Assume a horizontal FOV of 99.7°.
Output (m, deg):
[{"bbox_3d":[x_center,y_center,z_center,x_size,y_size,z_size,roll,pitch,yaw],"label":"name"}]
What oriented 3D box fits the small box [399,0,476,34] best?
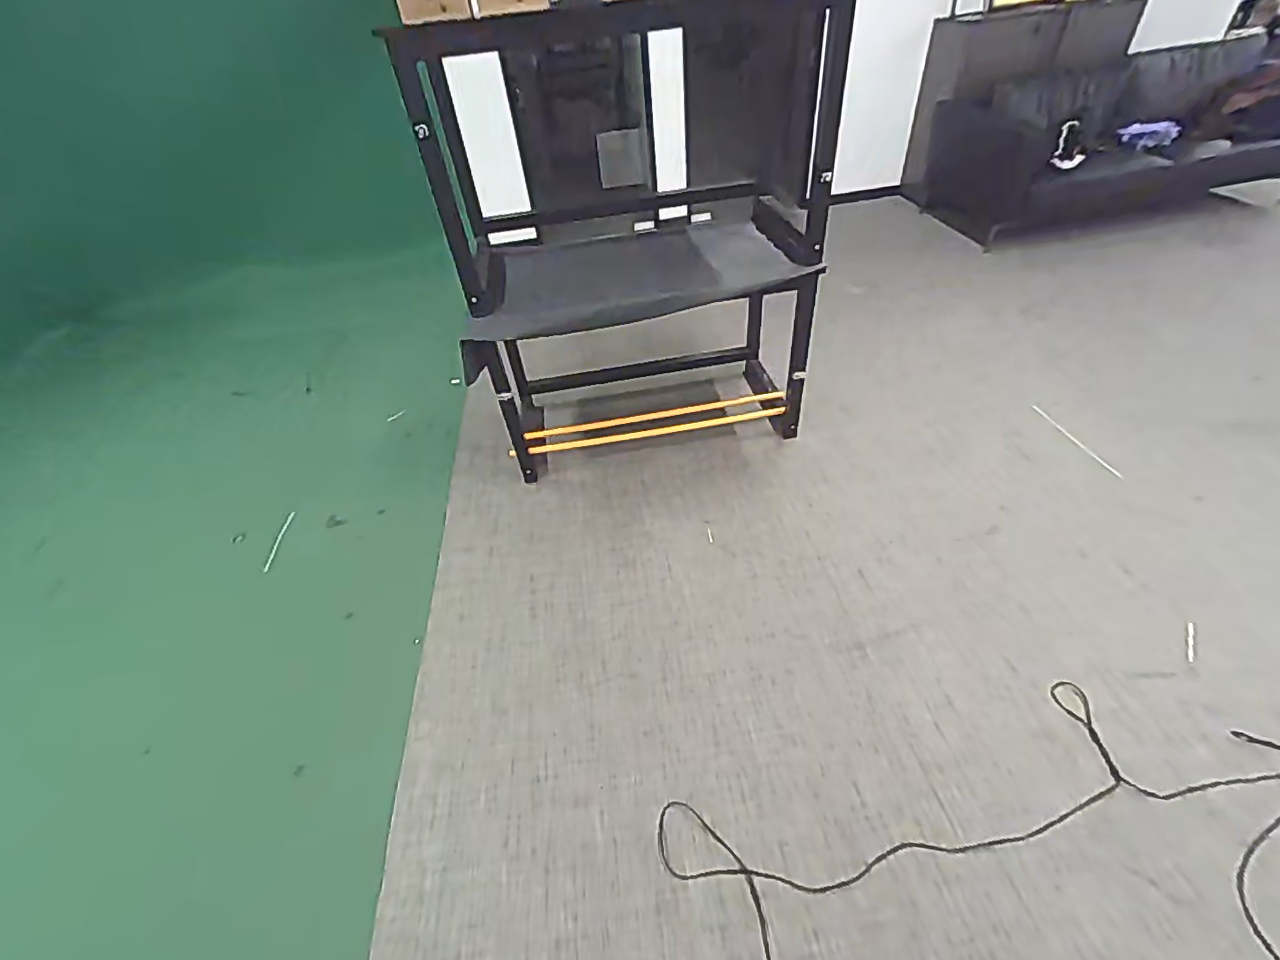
[{"bbox_3d":[-0.513,-1.222,1.341,0.168,0.176,0.179,-10,43,-4],"label":"small box"}]
